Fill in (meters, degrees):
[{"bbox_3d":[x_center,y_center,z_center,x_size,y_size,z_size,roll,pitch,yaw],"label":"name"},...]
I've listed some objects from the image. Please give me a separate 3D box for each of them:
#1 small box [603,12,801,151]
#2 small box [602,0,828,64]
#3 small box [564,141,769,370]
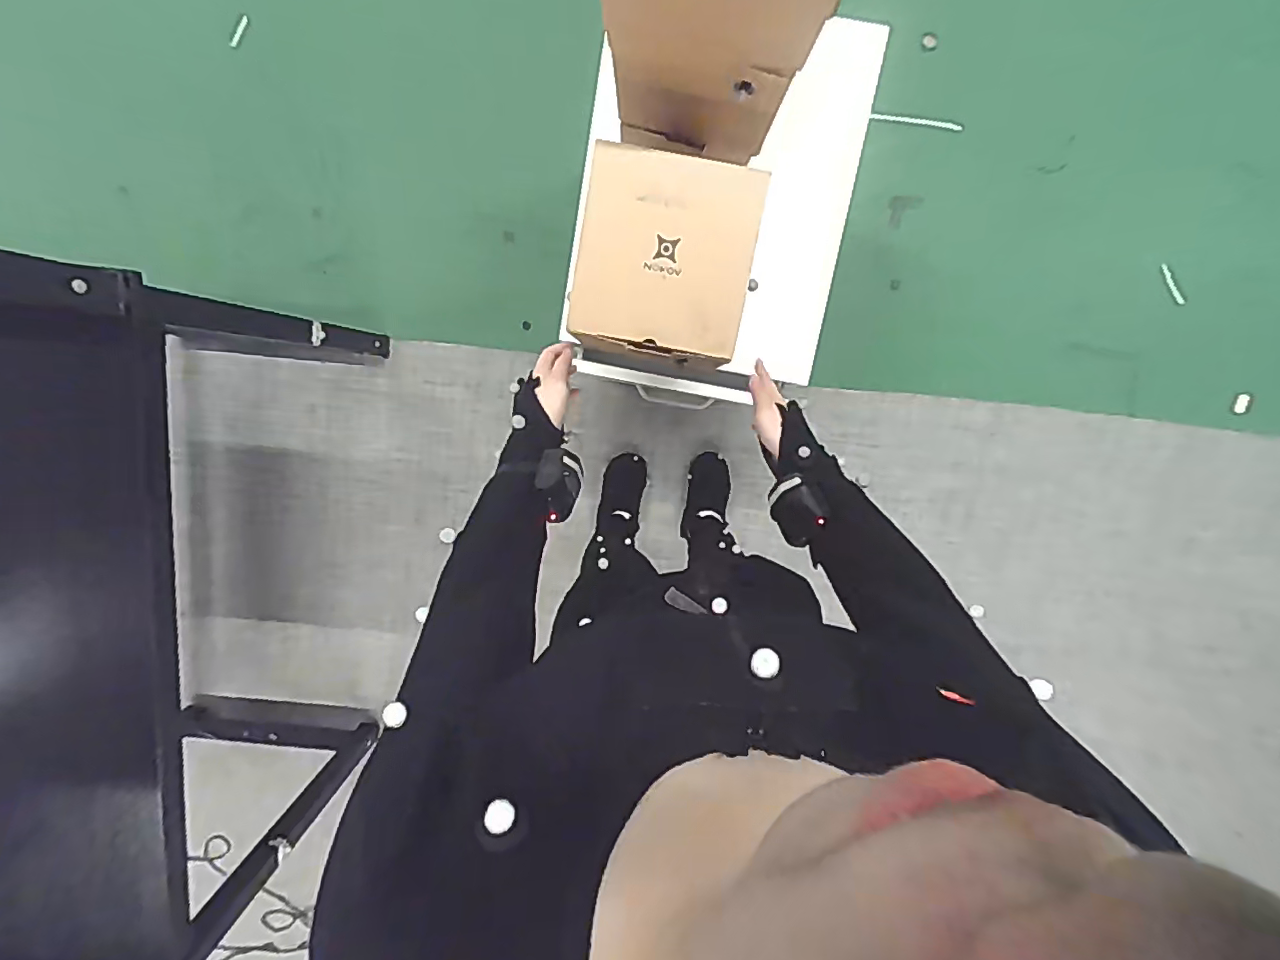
[{"bbox_3d":[0.071,-0.461,0.536,0.179,0.176,0.168,13,99,-2],"label":"small box"},{"bbox_3d":[0.063,-0.430,0.374,0.179,0.176,0.168,6,100,-1],"label":"small box"},{"bbox_3d":[0.024,-0.217,0.574,0.168,0.176,0.179,9,98,-1],"label":"small box"}]
